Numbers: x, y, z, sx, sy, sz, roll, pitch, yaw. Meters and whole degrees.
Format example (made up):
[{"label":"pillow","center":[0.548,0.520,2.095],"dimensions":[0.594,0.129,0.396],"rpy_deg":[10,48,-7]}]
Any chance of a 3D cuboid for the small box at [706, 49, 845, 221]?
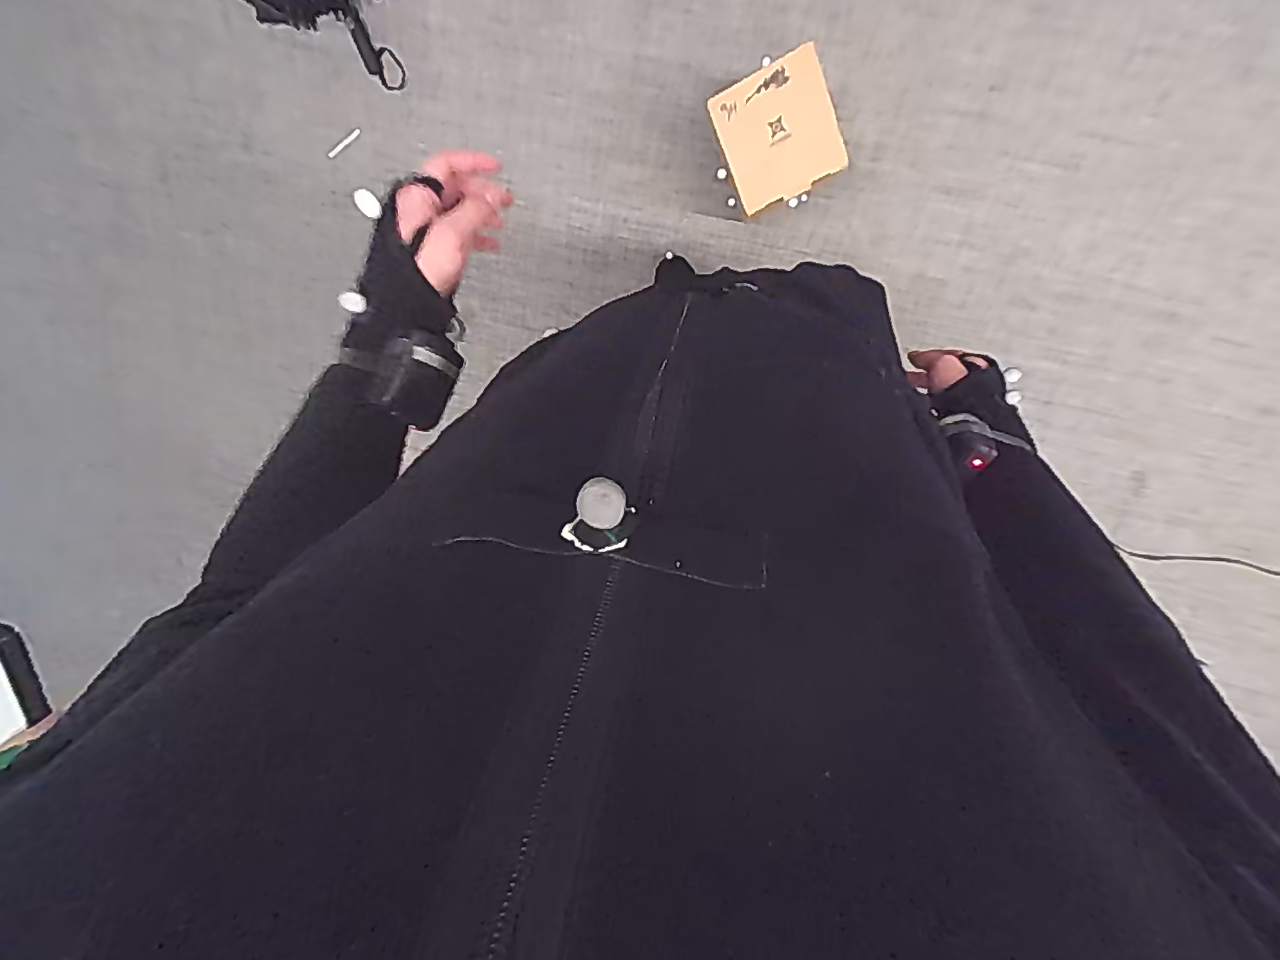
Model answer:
[{"label":"small box","center":[0.219,-0.553,0.893],"dimensions":[0.168,0.176,0.179],"rpy_deg":[-21,110,17]}]
